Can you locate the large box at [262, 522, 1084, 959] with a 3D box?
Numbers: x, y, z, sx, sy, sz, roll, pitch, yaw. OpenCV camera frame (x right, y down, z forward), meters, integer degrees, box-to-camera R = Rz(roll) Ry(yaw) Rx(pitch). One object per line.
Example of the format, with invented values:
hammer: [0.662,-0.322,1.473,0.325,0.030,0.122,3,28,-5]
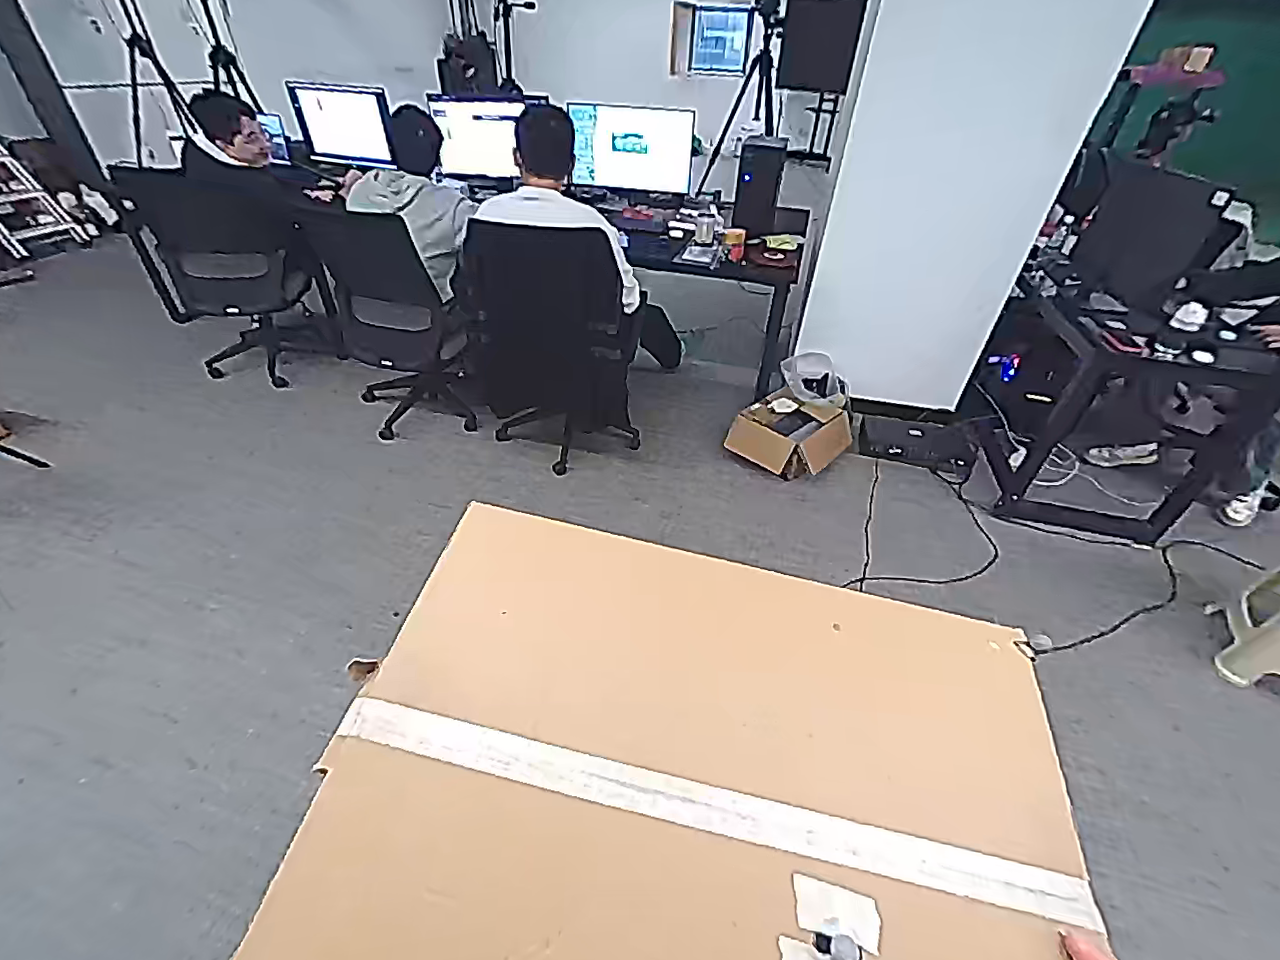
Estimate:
large box: [0.022,0.278,0.419,0.408,0.320,0.320,13,52,3]
